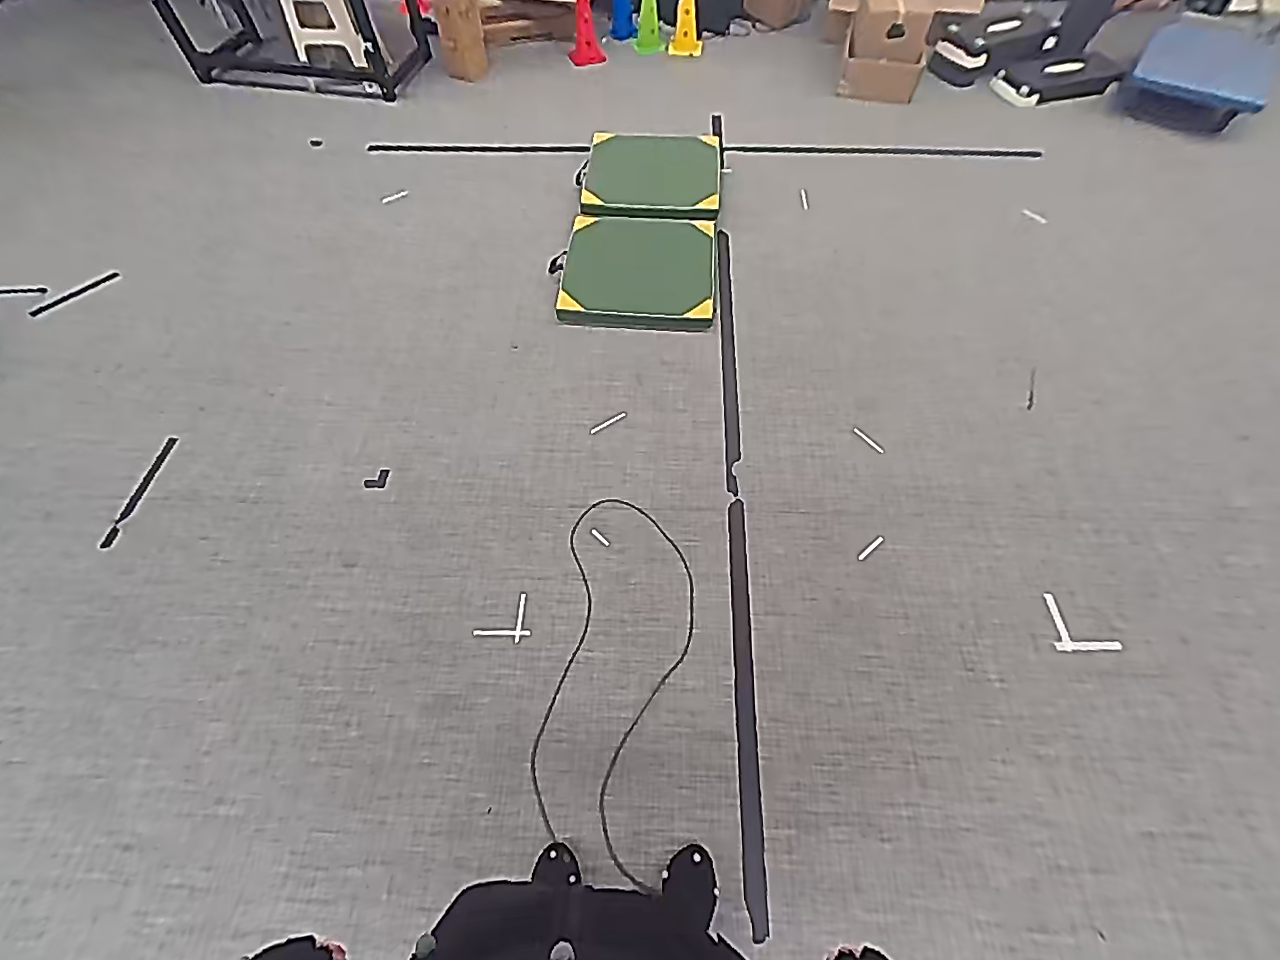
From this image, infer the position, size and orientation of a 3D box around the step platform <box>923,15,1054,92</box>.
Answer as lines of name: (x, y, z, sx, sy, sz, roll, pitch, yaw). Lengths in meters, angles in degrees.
step platform: (1.997, -2.445, 3.094, 0.684, 0.204, 0.286, -23, 62, -13)
